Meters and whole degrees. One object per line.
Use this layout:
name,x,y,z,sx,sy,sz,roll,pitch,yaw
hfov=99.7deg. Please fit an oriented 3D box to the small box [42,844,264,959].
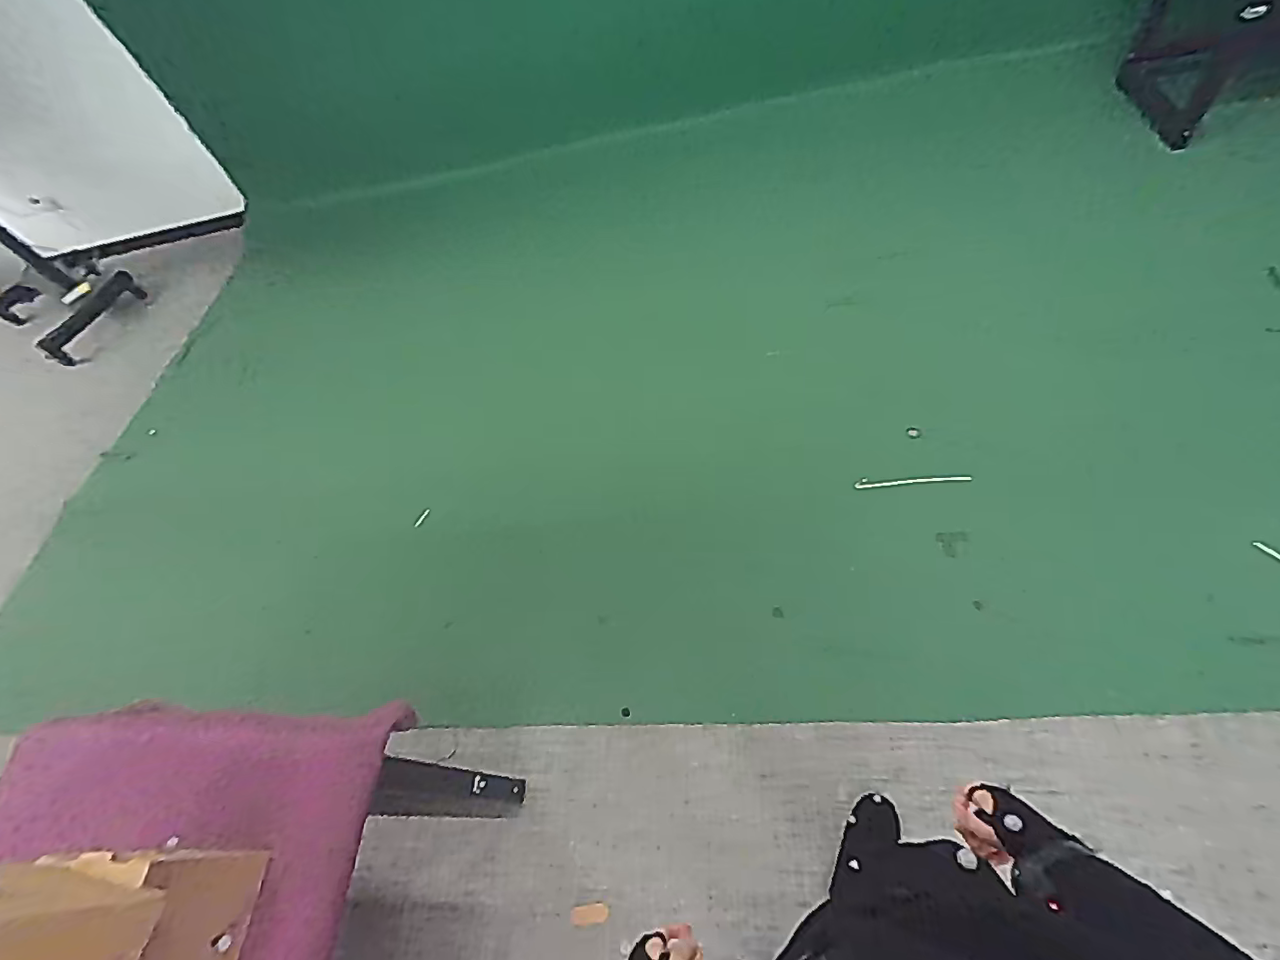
small box,-0.589,0.531,0.627,0.168,0.176,0.179,-7,56,13

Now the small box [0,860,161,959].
small box,-0.607,0.454,0.483,0.179,0.176,0.168,1,59,15
